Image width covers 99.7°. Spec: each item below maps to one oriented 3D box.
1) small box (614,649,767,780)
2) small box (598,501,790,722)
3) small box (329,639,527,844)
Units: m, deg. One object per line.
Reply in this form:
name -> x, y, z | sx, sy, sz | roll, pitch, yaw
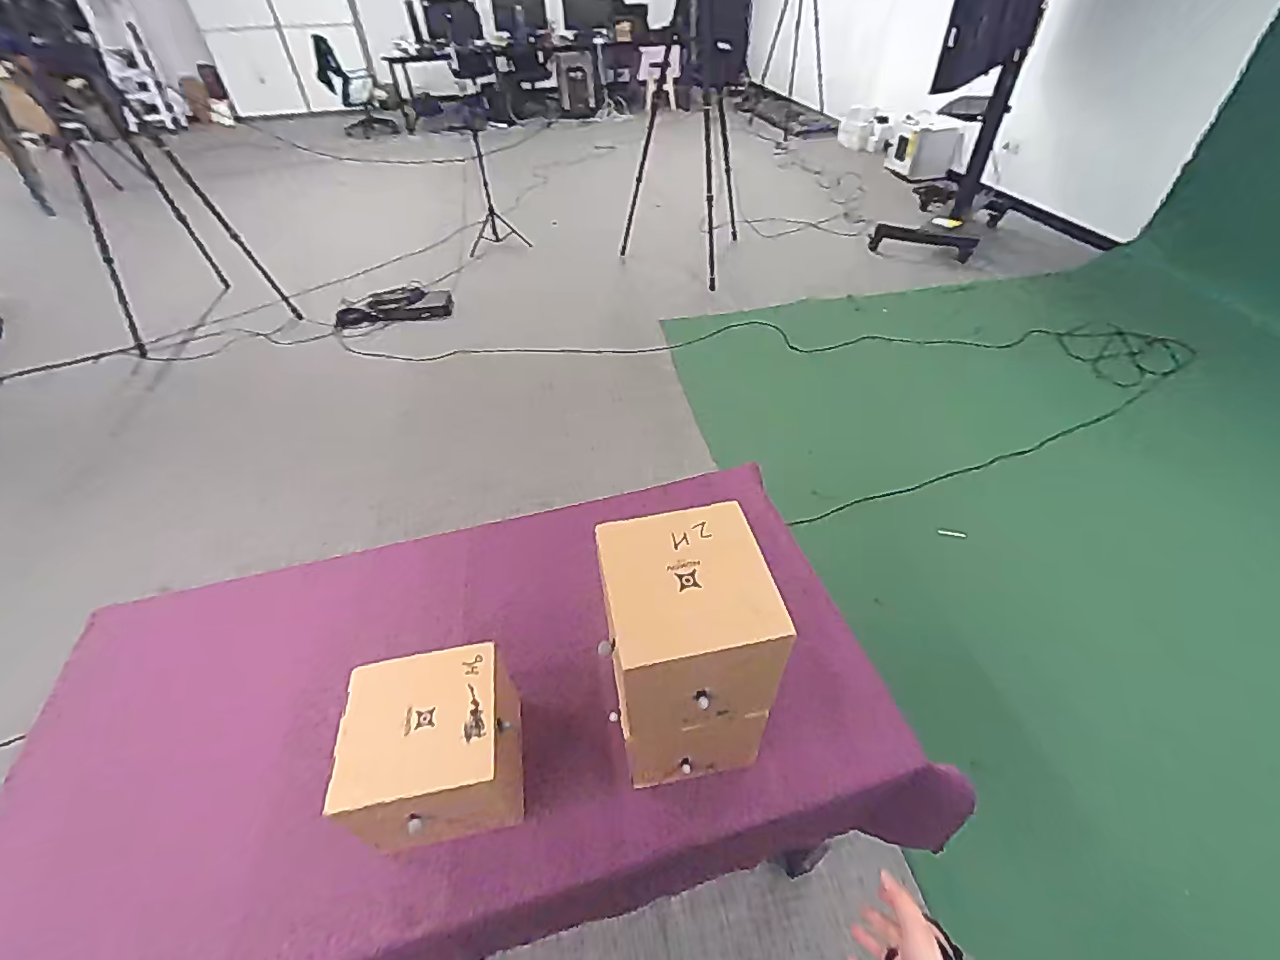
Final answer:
small box -> 0.054, 0.270, 0.724 | 0.168, 0.176, 0.179 | -8, 45, -6
small box -> 0.050, 0.152, 0.609 | 0.168, 0.176, 0.179 | -9, 45, -7
small box -> -0.247, 0.328, 0.677 | 0.179, 0.176, 0.168 | -10, 45, -6
